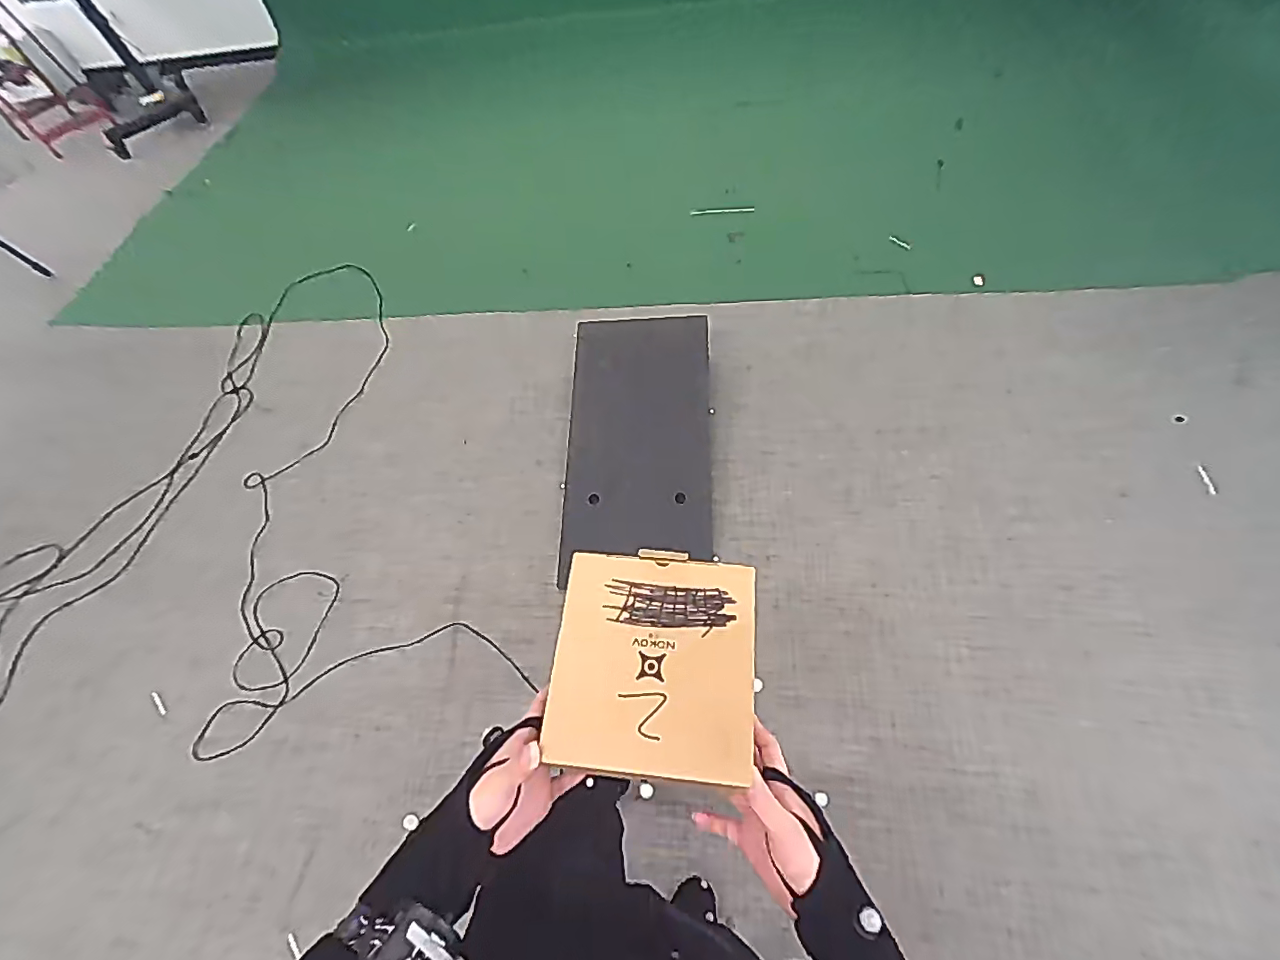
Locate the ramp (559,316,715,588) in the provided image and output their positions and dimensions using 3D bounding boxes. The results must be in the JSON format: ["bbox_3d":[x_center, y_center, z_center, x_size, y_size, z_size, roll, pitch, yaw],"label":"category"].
[{"bbox_3d":[0.000,-0.133,1.834,0.509,0.206,0.991,-2,58,5],"label":"ramp"}]
